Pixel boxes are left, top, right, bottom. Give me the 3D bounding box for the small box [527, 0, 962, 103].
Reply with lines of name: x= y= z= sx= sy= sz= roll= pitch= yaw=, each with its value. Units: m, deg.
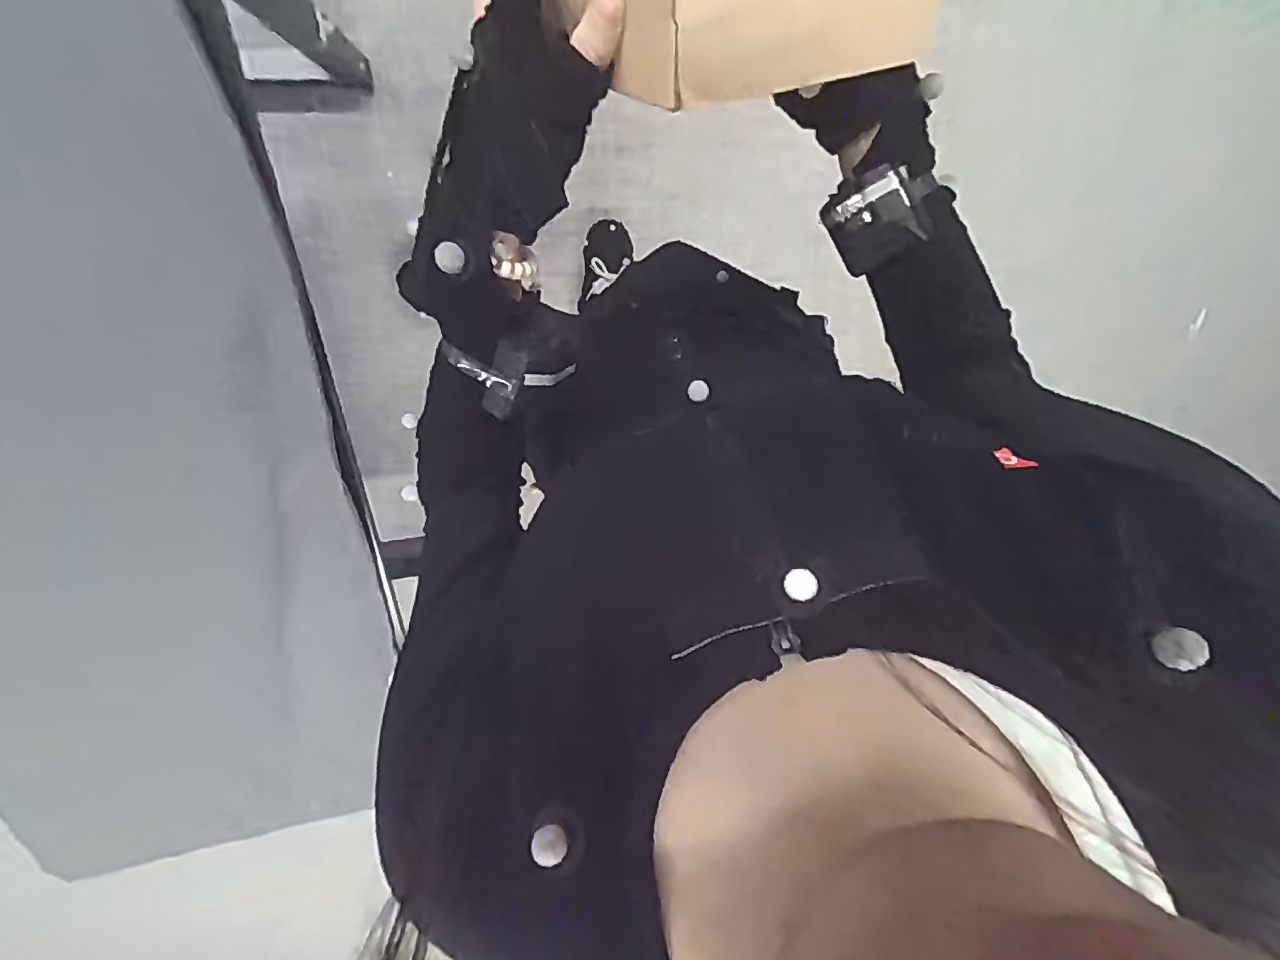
small box: x=0.052 y=-0.304 z=0.255 sx=0.179 sy=0.176 sz=0.168 roll=-26 pitch=142 yaw=-21
